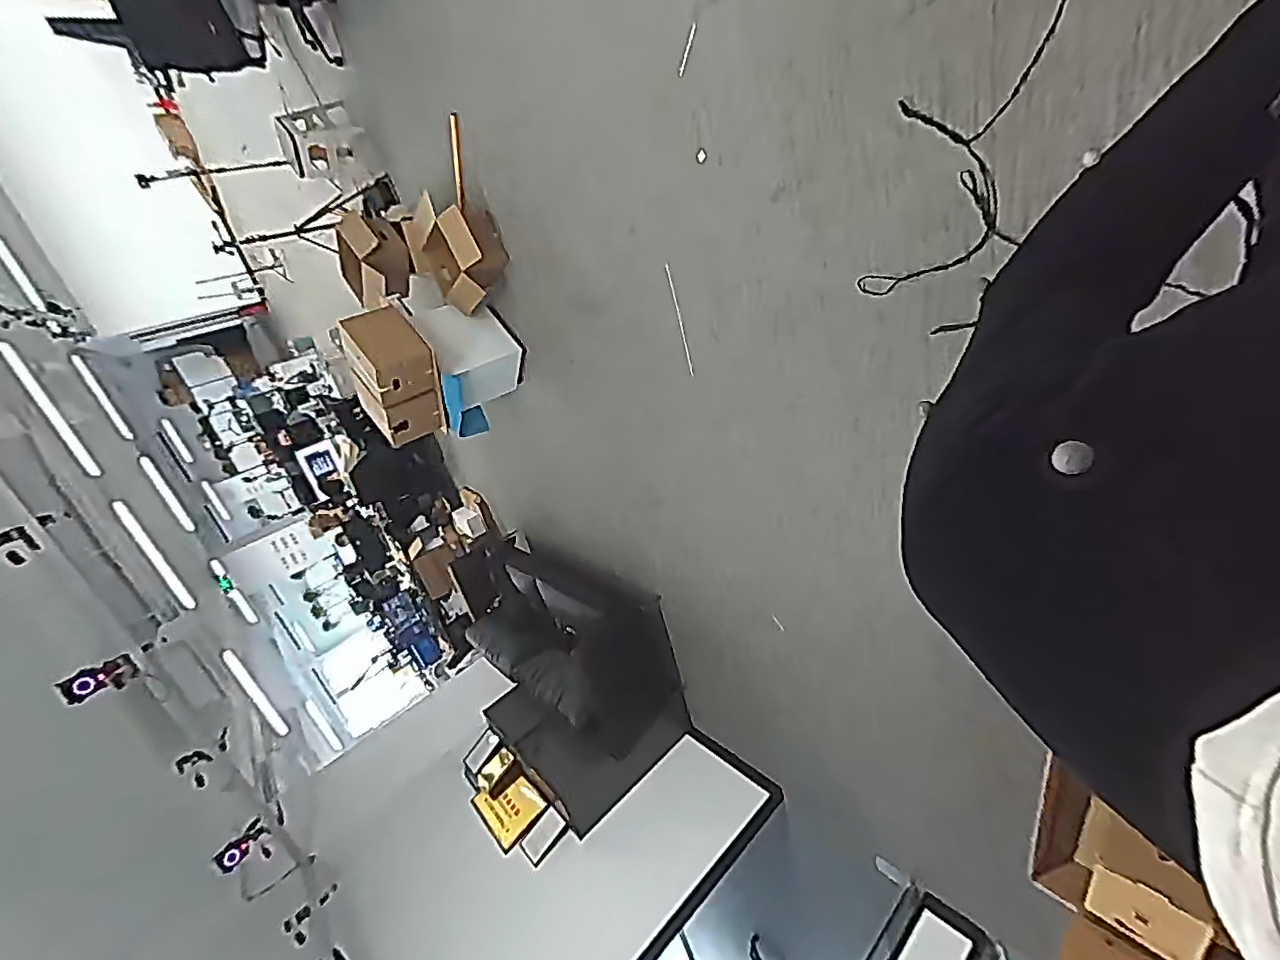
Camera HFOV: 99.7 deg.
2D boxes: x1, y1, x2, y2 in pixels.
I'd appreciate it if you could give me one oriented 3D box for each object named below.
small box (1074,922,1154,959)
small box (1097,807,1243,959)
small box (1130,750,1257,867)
[{"bbox_3d":[0.968,1.052,1.080,0.168,0.176,0.179,14,125,51],"label":"small box"},{"bbox_3d":[1.041,0.797,1.064,0.168,0.176,0.179,19,131,48],"label":"small box"},{"bbox_3d":[1.162,0.725,1.147,0.168,0.176,0.179,18,131,48],"label":"small box"}]
